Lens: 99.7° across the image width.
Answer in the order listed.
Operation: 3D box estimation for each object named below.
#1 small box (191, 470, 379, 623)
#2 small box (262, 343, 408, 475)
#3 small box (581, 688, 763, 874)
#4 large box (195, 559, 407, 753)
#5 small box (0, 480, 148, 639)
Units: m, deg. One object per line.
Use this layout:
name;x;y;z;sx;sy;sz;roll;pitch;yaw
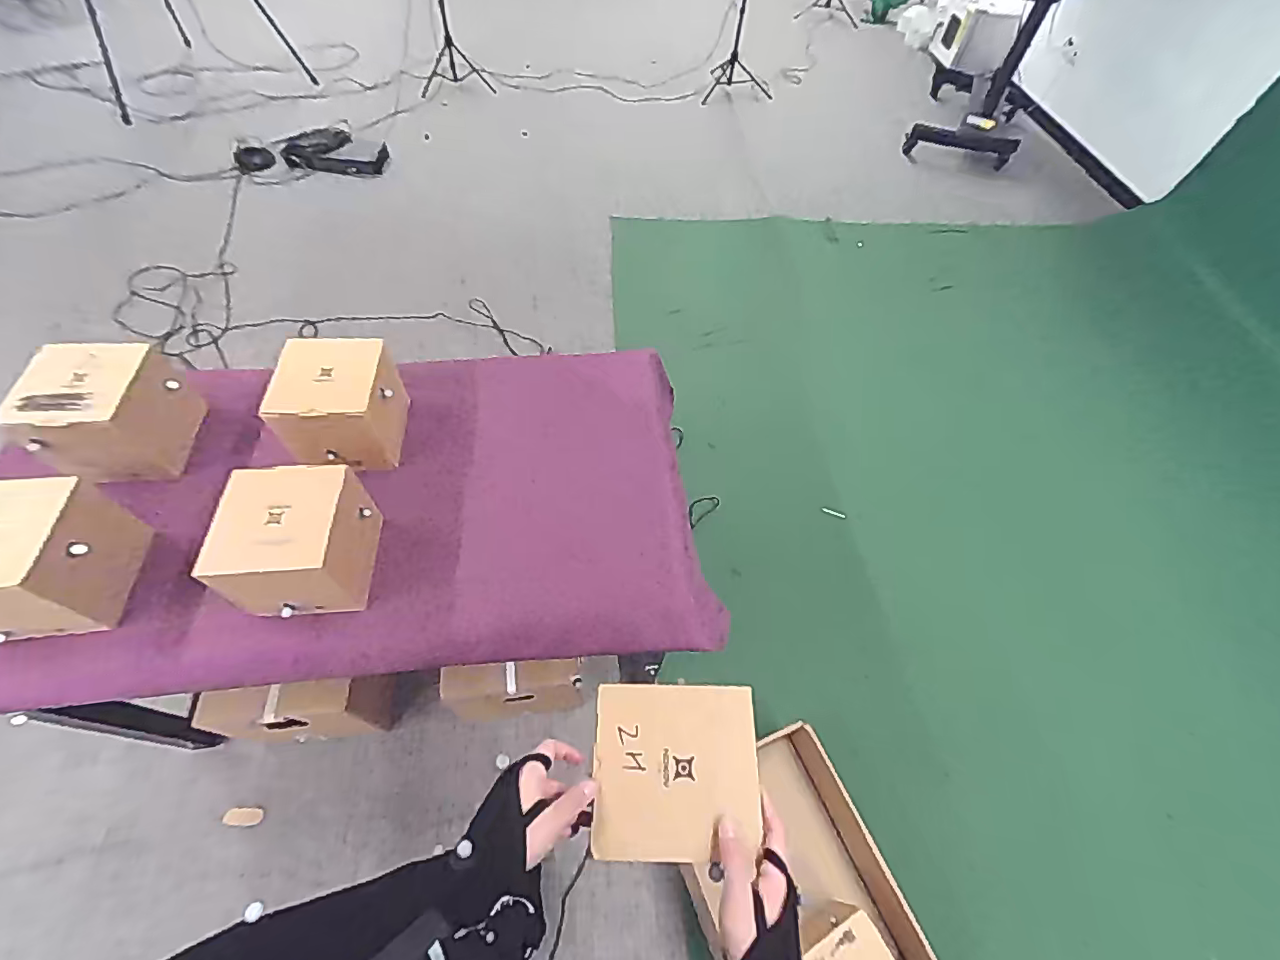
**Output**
small box;-0.521;0.103;0.829;0.168;0.176;0.179;-2;56;-5
small box;-0.535;-0.126;0.981;0.168;0.176;0.179;-1;58;-6
small box;0.032;0.341;0.620;0.179;0.176;0.168;0;58;1
large box;-0.817;0.439;1.378;0.320;0.320;0.408;-3;56;-7
small box;-0.880;0.122;0.786;0.168;0.176;0.179;-4;55;-7
